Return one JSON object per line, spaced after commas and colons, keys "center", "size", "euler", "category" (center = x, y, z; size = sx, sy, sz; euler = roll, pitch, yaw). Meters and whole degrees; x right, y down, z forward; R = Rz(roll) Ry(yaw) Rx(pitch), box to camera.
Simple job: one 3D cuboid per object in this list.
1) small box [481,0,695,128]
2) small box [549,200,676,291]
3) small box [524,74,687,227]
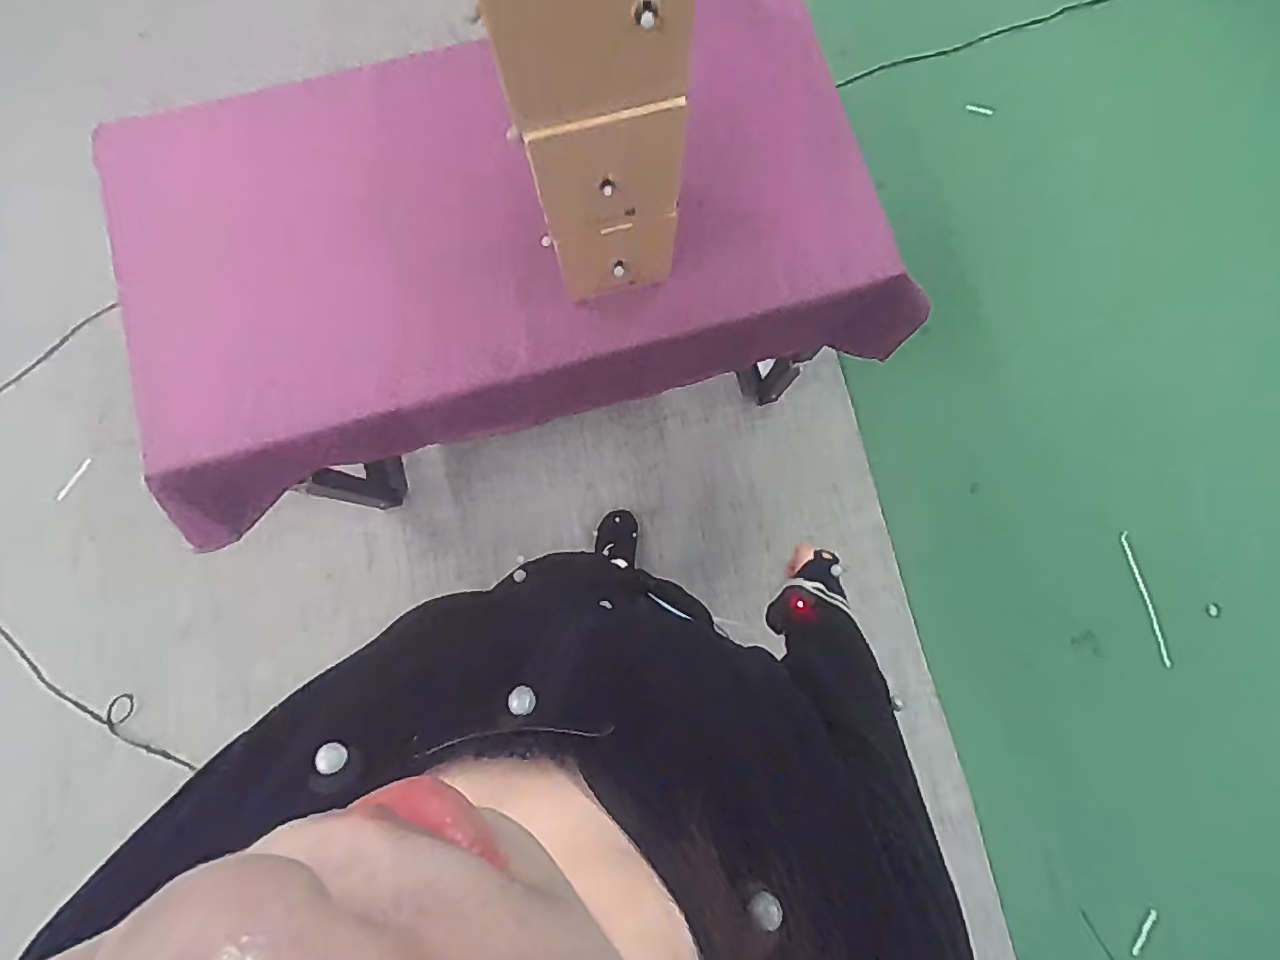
{"center": [-0.054, -0.447, 0.461], "size": [0.179, 0.176, 0.168], "euler": [-15, 81, -2], "category": "small box"}
{"center": [-0.050, -0.396, 0.786], "size": [0.168, 0.176, 0.179], "euler": [-14, 83, -3], "category": "small box"}
{"center": [-0.051, -0.419, 0.622], "size": [0.168, 0.176, 0.179], "euler": [-14, 82, -4], "category": "small box"}
